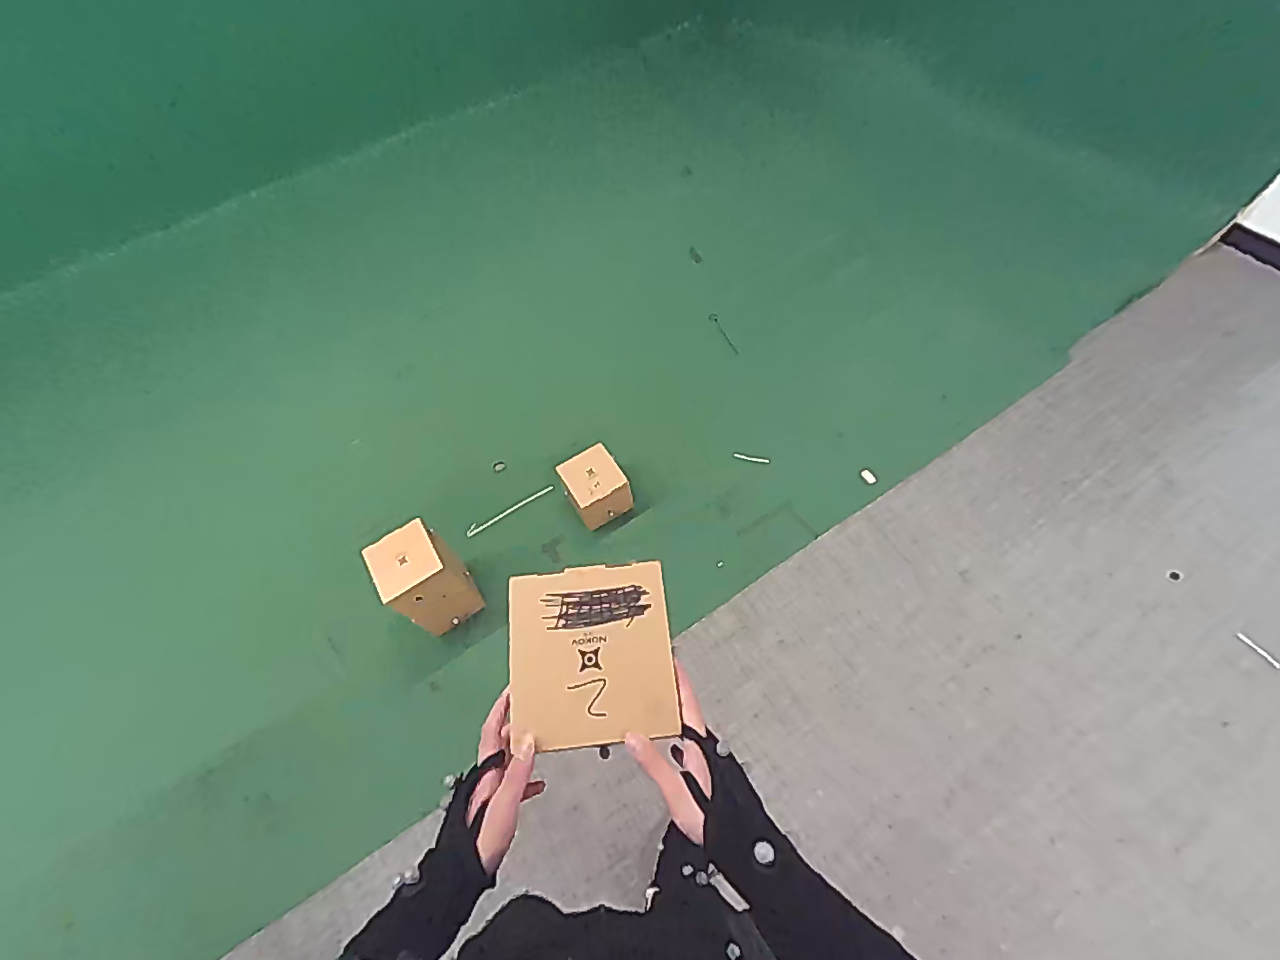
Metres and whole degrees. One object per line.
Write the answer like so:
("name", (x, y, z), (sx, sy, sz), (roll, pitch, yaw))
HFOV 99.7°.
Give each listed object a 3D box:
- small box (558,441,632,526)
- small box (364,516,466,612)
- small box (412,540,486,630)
("small box", (-0.138, 0.015, 1.709), (0.168, 0.176, 0.179), (-30, 63, -11))
("small box", (-0.594, 0.233, 1.446), (0.168, 0.176, 0.179), (-33, 62, -11))
("small box", (-0.582, 0.313, 1.586), (0.168, 0.176, 0.179), (-32, 63, -11))
